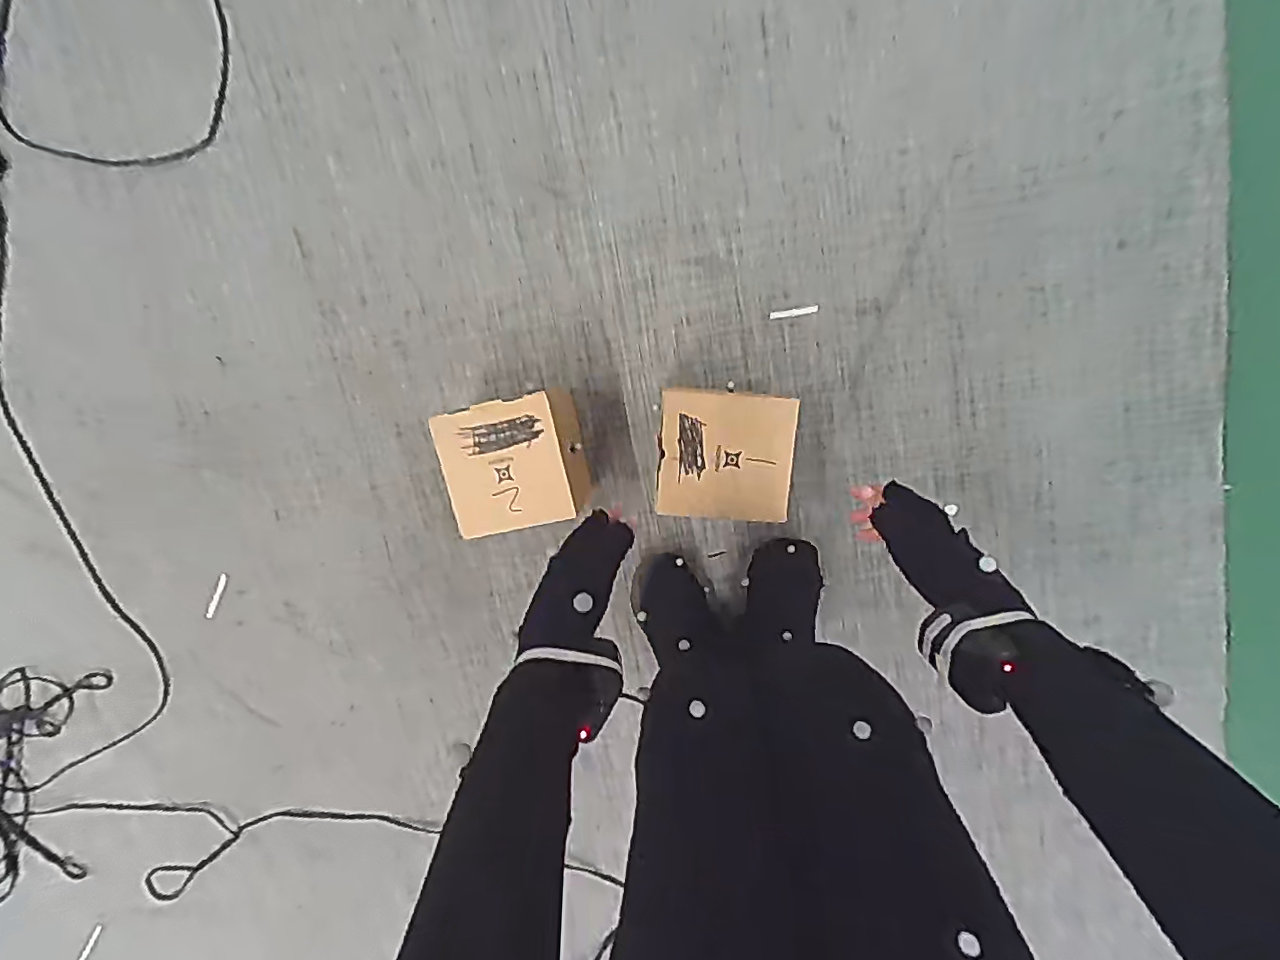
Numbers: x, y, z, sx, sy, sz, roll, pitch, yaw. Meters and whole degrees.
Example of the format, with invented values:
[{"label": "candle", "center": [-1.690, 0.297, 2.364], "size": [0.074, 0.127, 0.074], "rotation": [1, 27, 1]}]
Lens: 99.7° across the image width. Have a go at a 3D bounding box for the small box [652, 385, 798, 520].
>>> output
[{"label": "small box", "center": [0.112, -0.048, 0.783], "size": [0.179, 0.176, 0.168], "rotation": [4, 102, 1]}]
